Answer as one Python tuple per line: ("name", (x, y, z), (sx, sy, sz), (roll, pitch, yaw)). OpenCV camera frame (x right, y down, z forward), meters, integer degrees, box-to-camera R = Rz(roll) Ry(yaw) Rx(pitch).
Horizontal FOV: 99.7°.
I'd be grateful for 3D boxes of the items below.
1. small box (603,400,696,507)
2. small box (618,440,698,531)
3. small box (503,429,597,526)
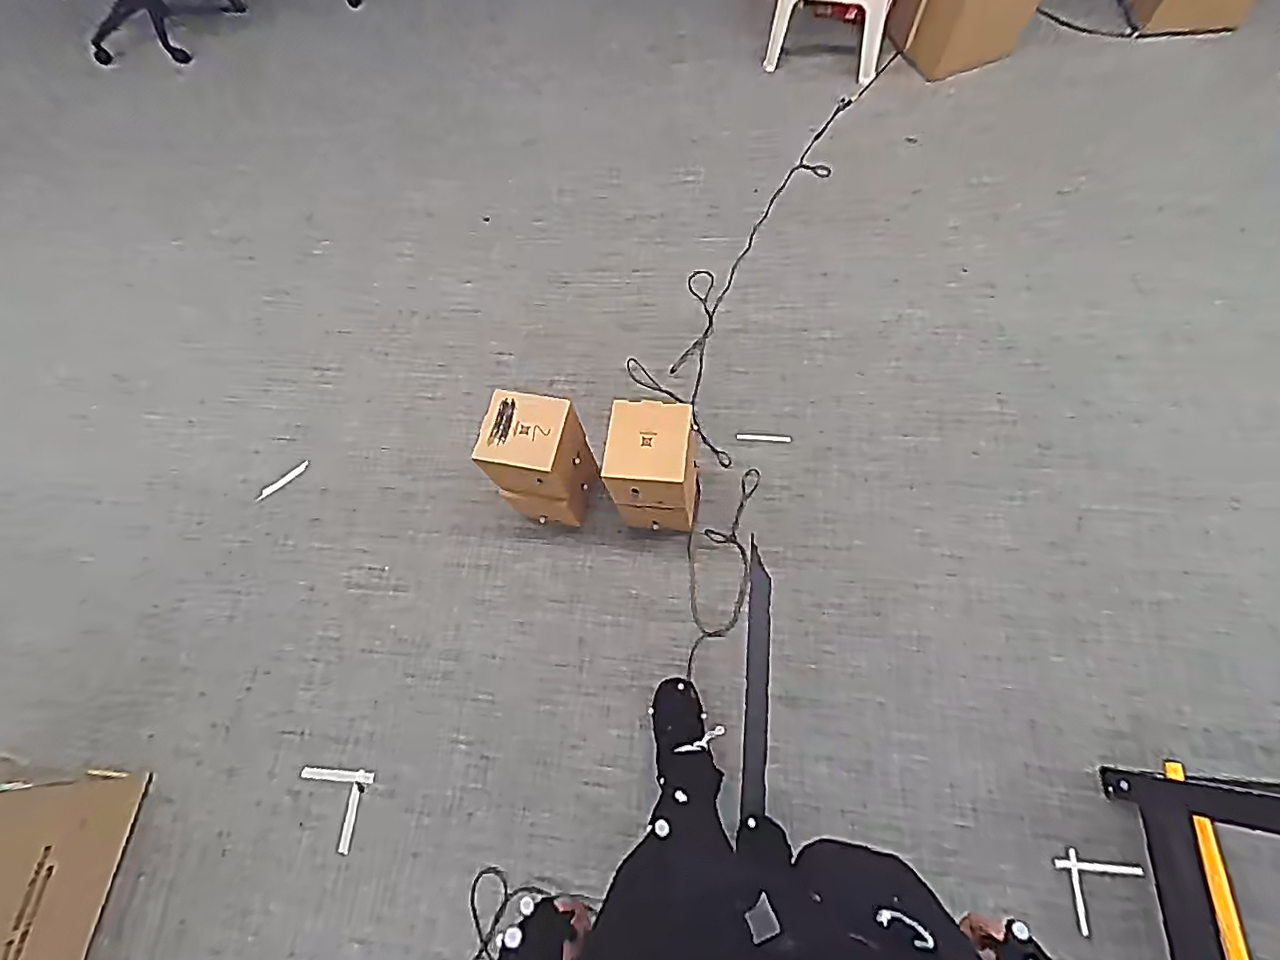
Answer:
("small box", (0.029, -0.051, 1.149), (0.168, 0.176, 0.179), (4, 68, 9))
("small box", (0.051, 0.010, 1.298), (0.168, 0.176, 0.179), (4, 69, 10))
("small box", (-0.212, -0.002, 1.333), (0.168, 0.176, 0.179), (10, 71, 11))
